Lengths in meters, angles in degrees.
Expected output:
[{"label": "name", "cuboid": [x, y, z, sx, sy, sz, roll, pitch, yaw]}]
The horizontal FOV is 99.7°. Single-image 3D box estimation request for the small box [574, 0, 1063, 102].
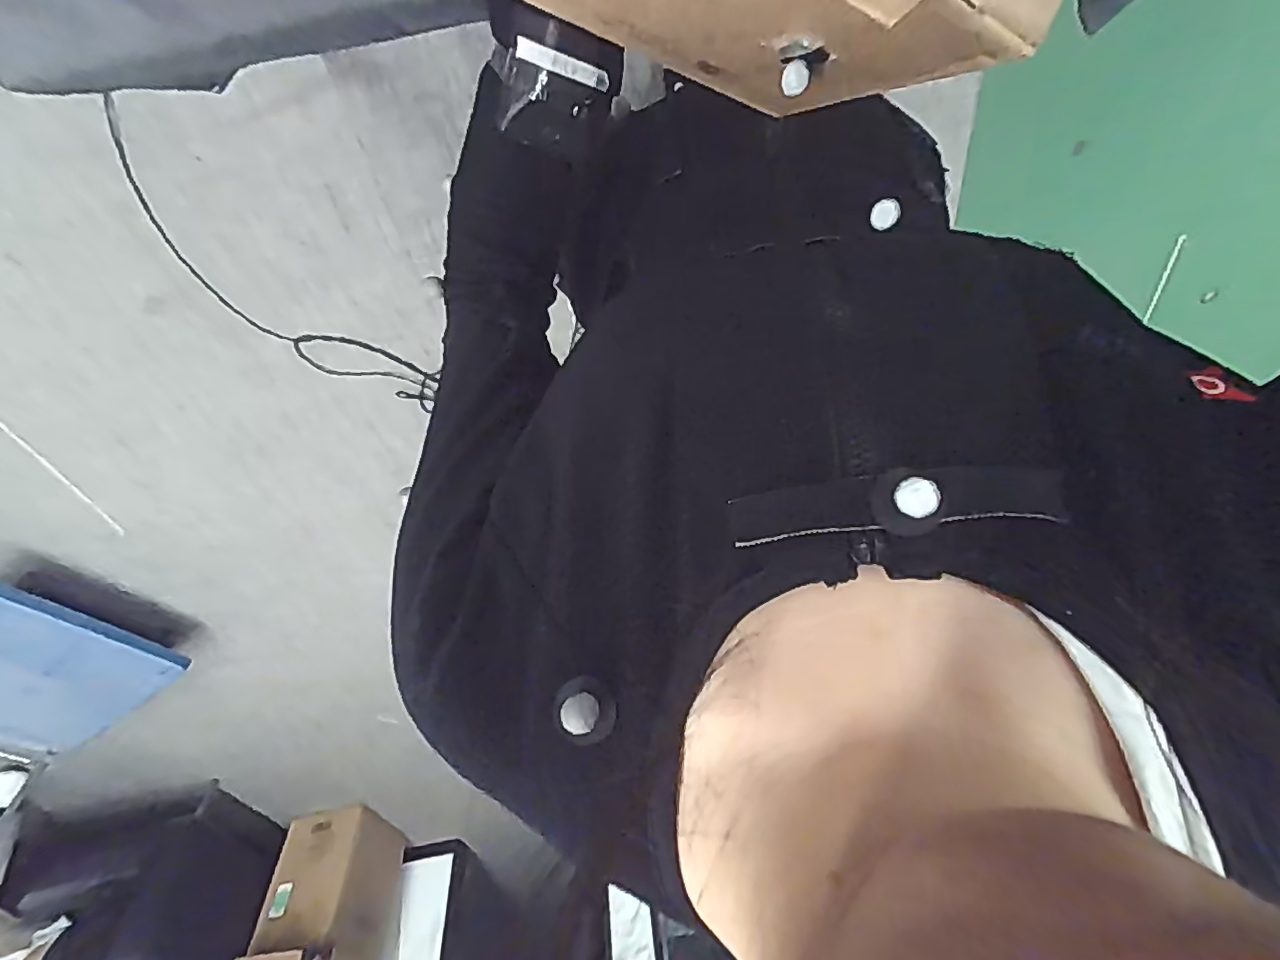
[{"label": "small box", "cuboid": [0.057, -0.264, 0.185, 0.168, 0.176, 0.179, 7, 113, -25]}]
